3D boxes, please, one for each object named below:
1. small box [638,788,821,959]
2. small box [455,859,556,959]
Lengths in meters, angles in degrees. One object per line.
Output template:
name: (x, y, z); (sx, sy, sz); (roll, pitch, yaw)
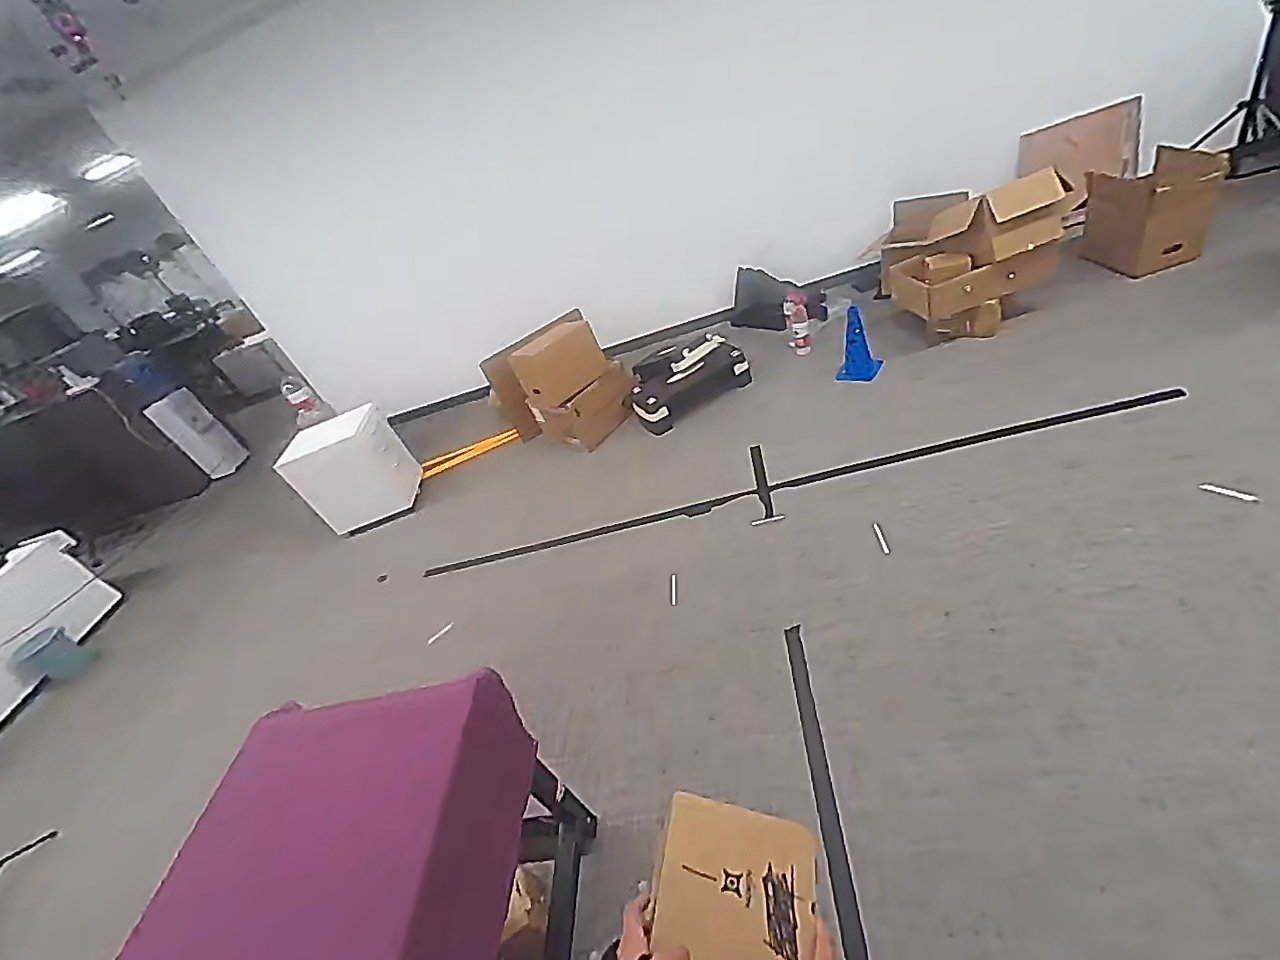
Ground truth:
small box: (0.105, 0.512, 0.649); (0.179, 0.176, 0.168); (12, 38, 8)
small box: (-0.343, 1.130, 1.386); (0.179, 0.176, 0.168); (-31, 37, -9)
